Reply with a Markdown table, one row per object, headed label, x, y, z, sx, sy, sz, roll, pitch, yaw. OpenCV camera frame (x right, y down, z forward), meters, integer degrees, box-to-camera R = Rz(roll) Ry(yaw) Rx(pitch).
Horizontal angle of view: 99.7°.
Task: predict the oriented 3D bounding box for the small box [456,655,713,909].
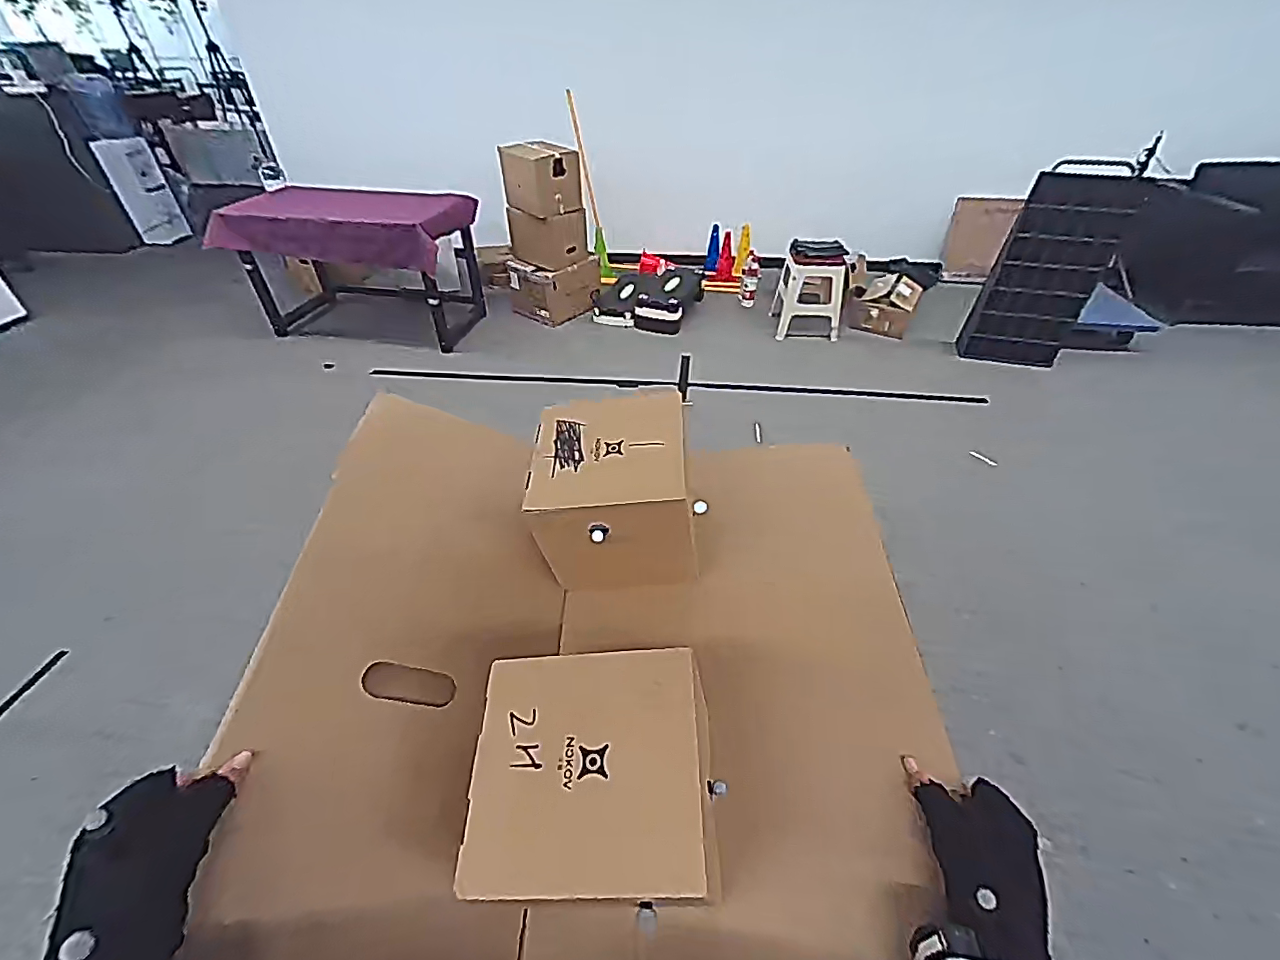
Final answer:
| label | x | y | z | sx | sy | sz | roll | pitch | yaw |
| --- | --- | --- | --- | --- | --- | --- | --- | --- | --- |
| small box | -0.029 | 0.267 | 0.475 | 0.179 | 0.176 | 0.168 | -6 | 49 | 8 |

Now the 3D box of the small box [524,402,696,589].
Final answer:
| label | x | y | z | sx | sy | sz | roll | pitch | yaw |
| --- | --- | --- | --- | --- | --- | --- | --- | --- | --- |
| small box | -0.025 | 0.025 | 0.680 | 0.179 | 0.176 | 0.168 | -4 | 49 | 8 |
